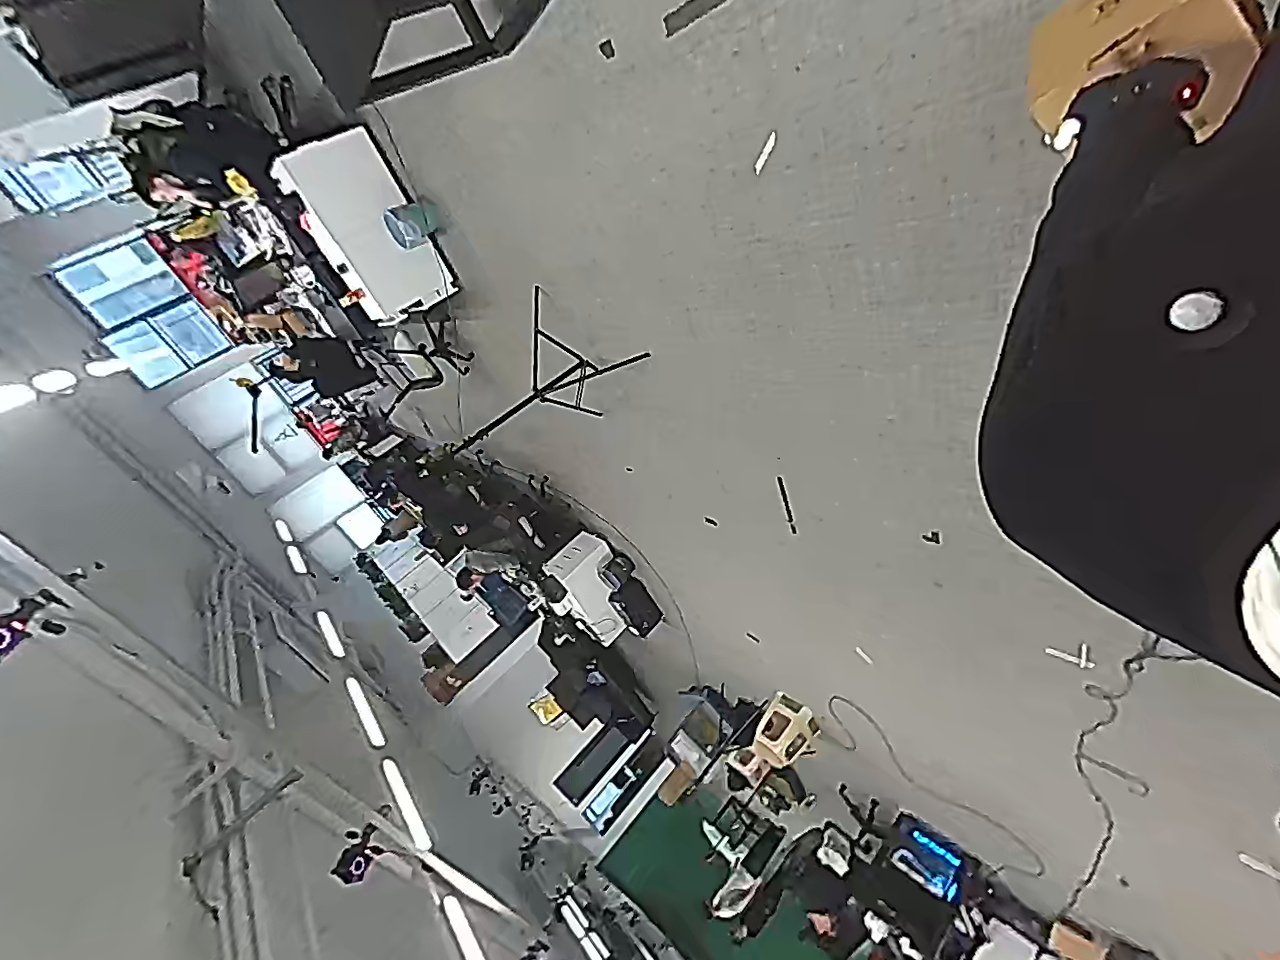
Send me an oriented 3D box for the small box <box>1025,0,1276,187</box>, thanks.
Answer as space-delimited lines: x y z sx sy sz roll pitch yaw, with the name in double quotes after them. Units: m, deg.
0.589 -0.485 0.633 0.176 0.179 0.168 31 155 -21 "small box"
